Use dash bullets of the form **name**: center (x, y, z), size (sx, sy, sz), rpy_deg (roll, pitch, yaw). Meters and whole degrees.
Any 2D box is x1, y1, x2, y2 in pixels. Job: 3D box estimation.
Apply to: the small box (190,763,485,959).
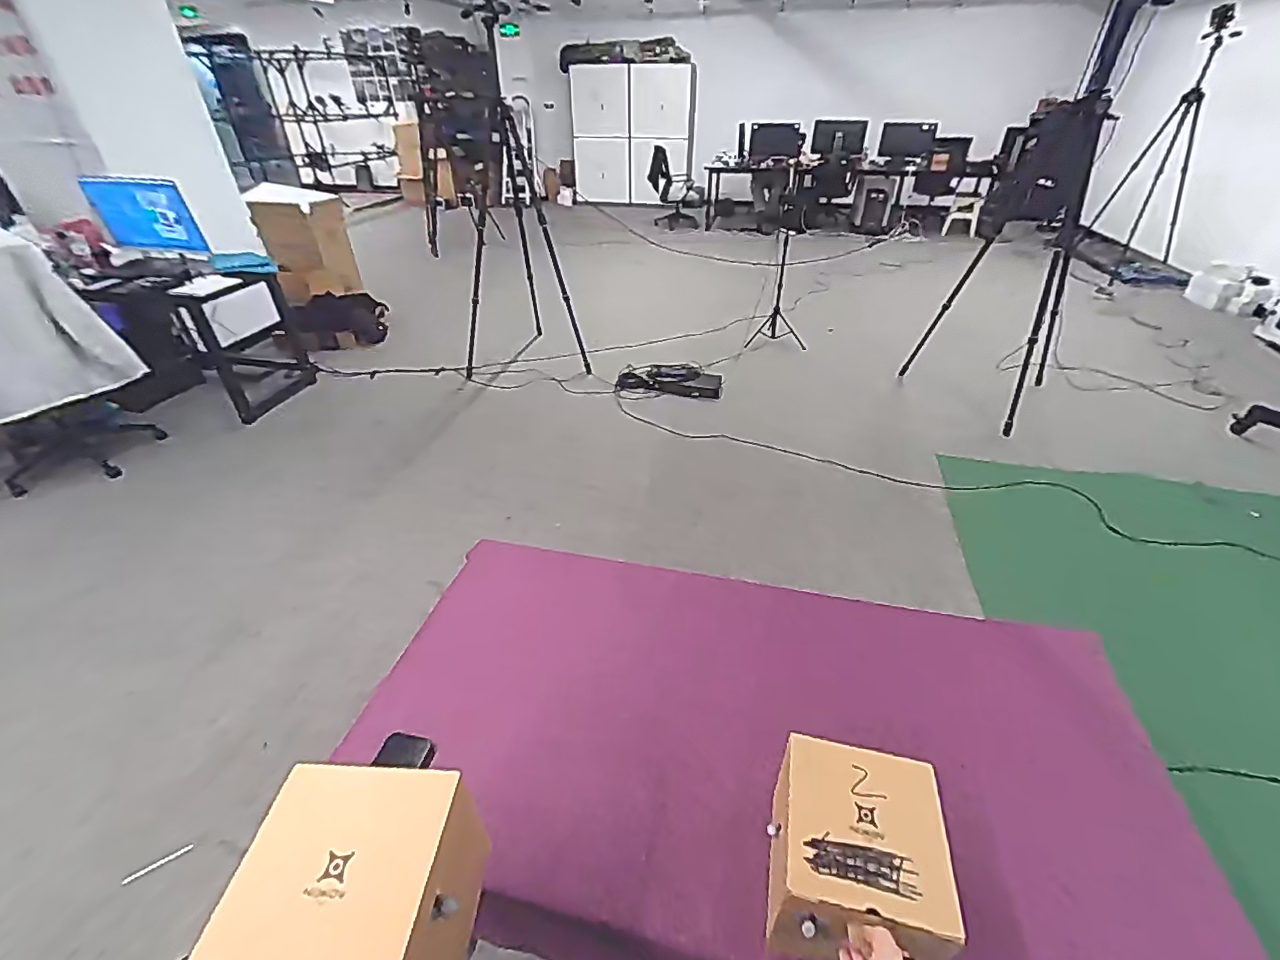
- **small box**: center (-0.251, 0.392, 0.496), size (0.168, 0.176, 0.179), rpy_deg (2, 37, 3)
